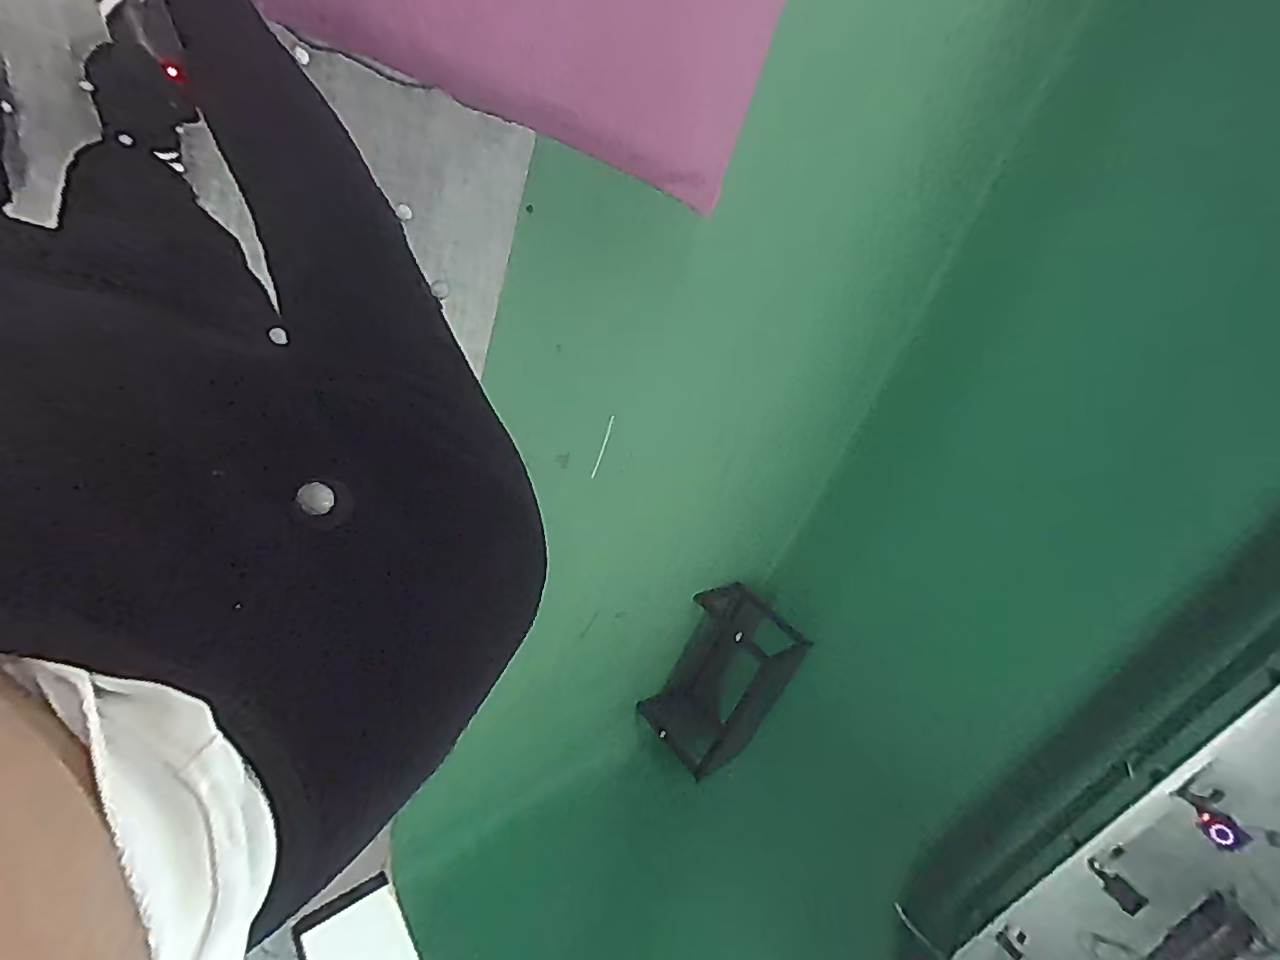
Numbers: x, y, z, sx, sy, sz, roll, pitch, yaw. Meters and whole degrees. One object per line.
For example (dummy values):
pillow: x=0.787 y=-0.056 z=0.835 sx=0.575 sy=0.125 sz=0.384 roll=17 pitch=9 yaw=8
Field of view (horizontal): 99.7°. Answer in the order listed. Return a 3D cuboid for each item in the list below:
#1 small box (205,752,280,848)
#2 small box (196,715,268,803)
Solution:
small box: x=-1.287 y=1.024 z=1.745 sx=0.168 sy=0.176 sz=0.179 roll=-3 pitch=123 yaw=-47
small box: x=-1.391 y=0.941 z=1.838 sx=0.168 sy=0.176 sz=0.179 roll=-3 pitch=125 yaw=-47
